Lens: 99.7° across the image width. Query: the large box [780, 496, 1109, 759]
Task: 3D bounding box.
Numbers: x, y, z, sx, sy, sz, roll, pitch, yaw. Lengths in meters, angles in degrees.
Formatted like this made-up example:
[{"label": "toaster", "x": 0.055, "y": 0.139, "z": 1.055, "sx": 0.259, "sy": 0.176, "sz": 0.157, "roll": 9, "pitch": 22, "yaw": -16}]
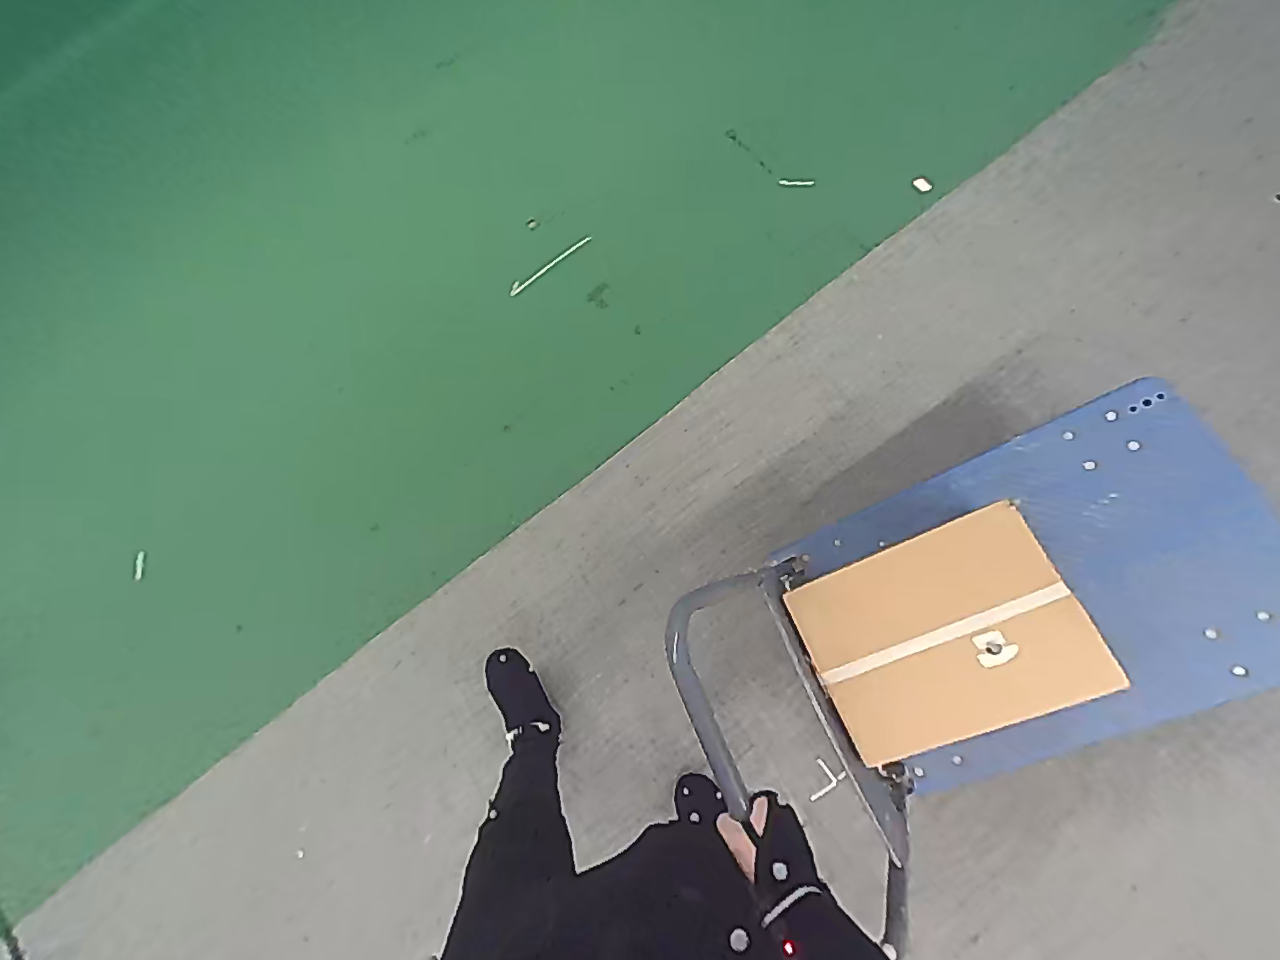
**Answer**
[{"label": "large box", "x": 0.537, "y": 0.272, "z": 1.041, "sx": 0.408, "sy": 0.320, "sz": 0.320, "roll": -28, "pitch": 73, "yaw": 16}]
